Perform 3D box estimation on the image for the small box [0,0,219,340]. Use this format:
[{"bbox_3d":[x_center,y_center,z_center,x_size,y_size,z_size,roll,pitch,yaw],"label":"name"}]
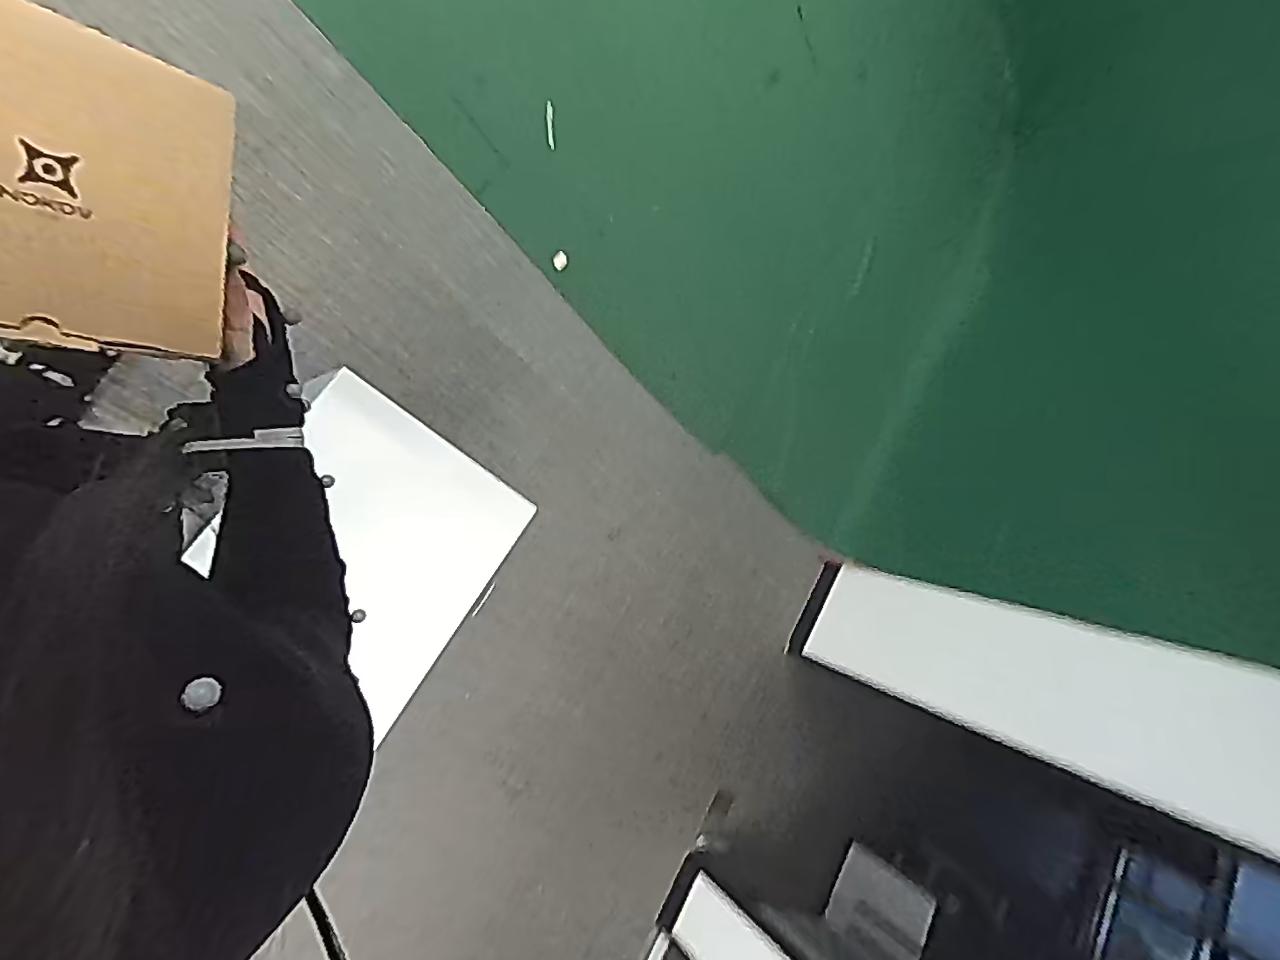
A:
[{"bbox_3d":[-0.390,-0.192,0.341,0.168,0.176,0.179,-1,101,-49],"label":"small box"}]
